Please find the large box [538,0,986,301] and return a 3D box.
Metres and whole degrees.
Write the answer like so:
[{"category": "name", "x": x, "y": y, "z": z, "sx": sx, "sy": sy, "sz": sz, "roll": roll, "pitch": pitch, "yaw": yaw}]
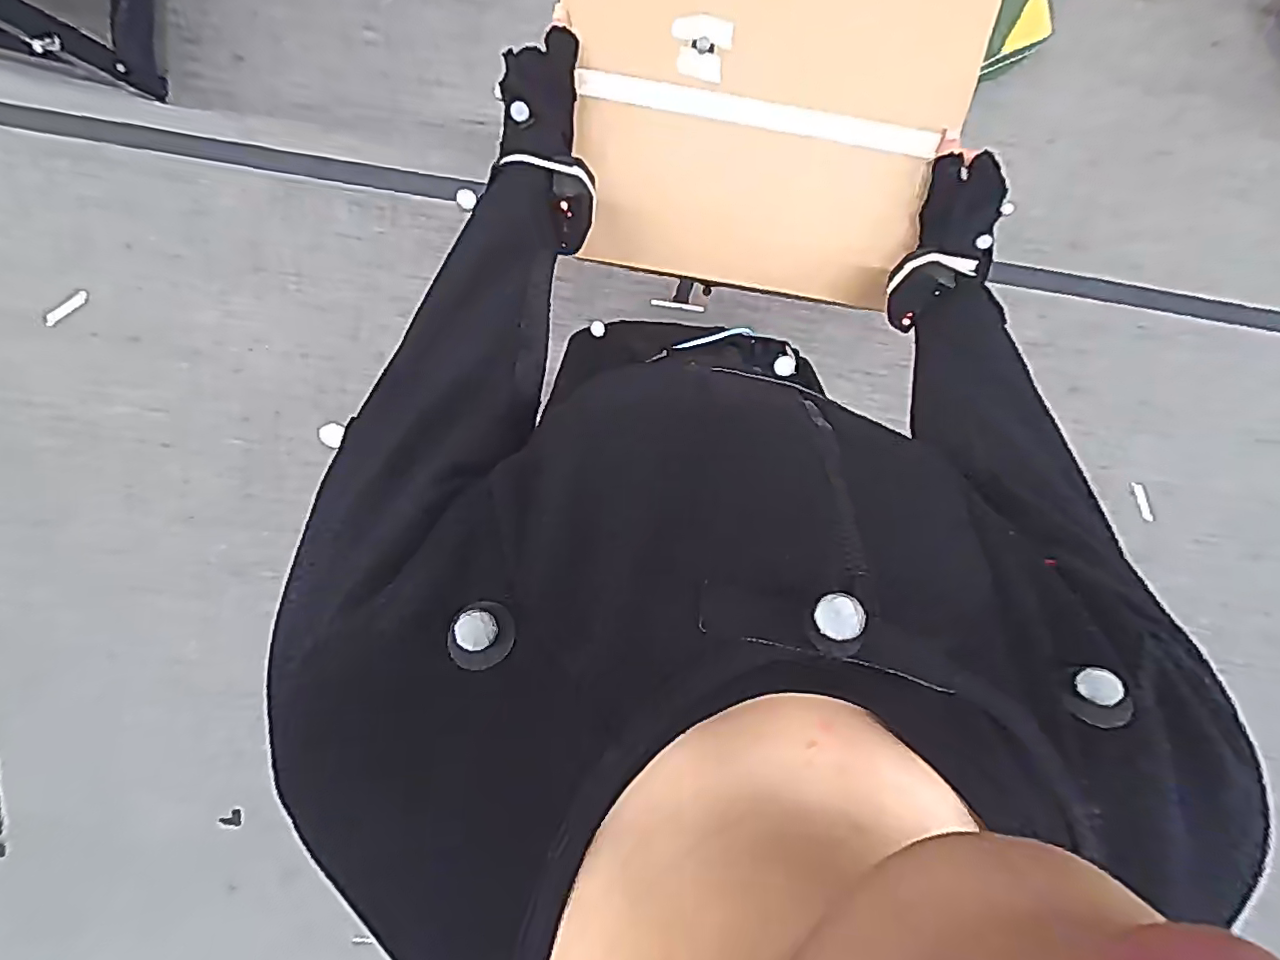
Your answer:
[{"category": "large box", "x": 0.114, "y": -0.421, "z": 0.679, "sx": 0.408, "sy": 0.320, "sz": 0.320, "roll": 10, "pitch": 110, "yaw": -2}]
